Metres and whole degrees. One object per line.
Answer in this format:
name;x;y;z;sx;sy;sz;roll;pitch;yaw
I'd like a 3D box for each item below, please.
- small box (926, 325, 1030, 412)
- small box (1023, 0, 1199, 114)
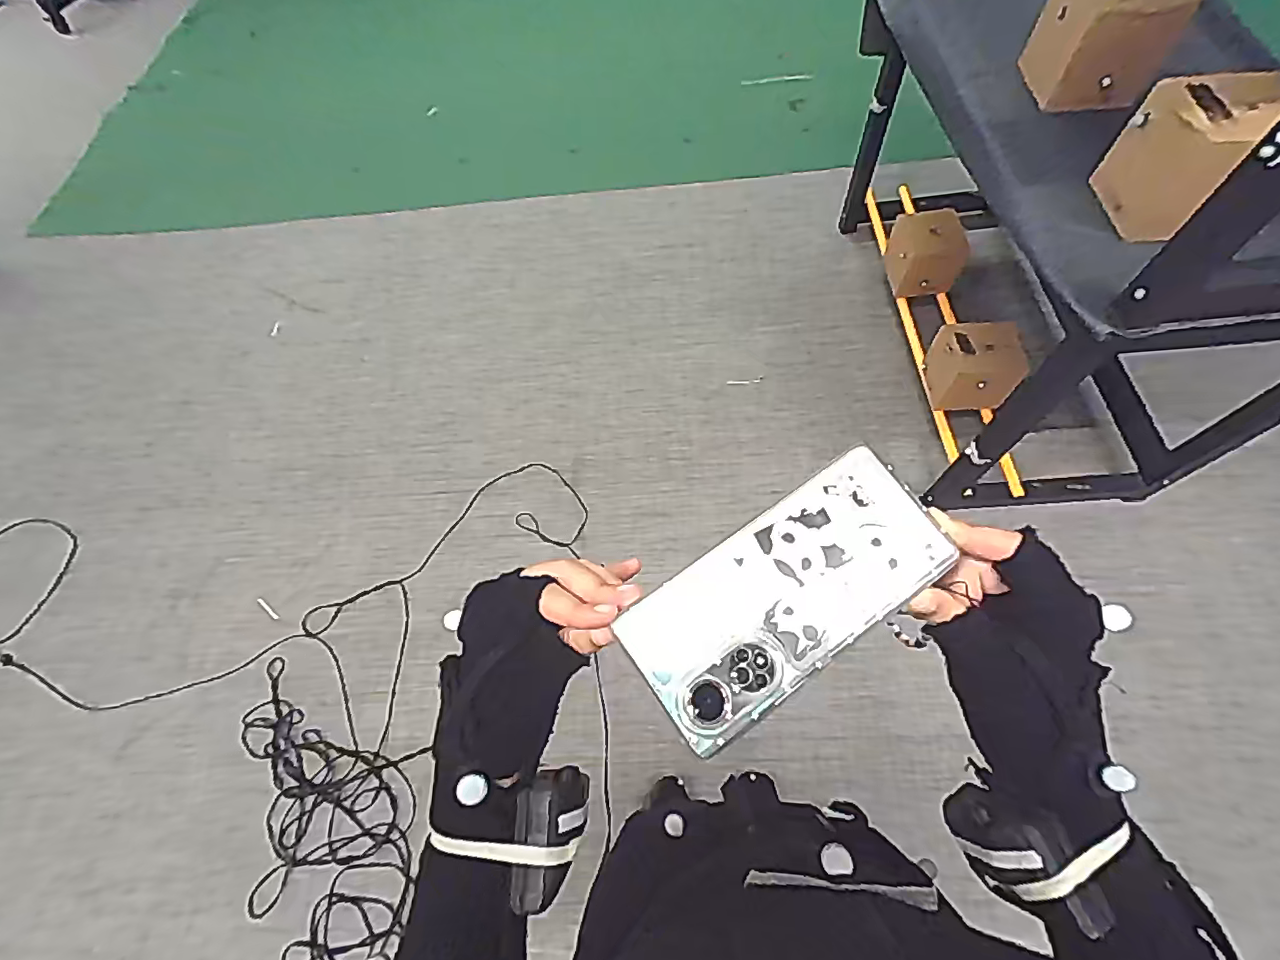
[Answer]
small box;0.894;-0.294;1.455;0.179;0.176;0.168;-1;63;6
small box;0.875;-0.835;1.031;0.168;0.176;0.179;-1;63;5
